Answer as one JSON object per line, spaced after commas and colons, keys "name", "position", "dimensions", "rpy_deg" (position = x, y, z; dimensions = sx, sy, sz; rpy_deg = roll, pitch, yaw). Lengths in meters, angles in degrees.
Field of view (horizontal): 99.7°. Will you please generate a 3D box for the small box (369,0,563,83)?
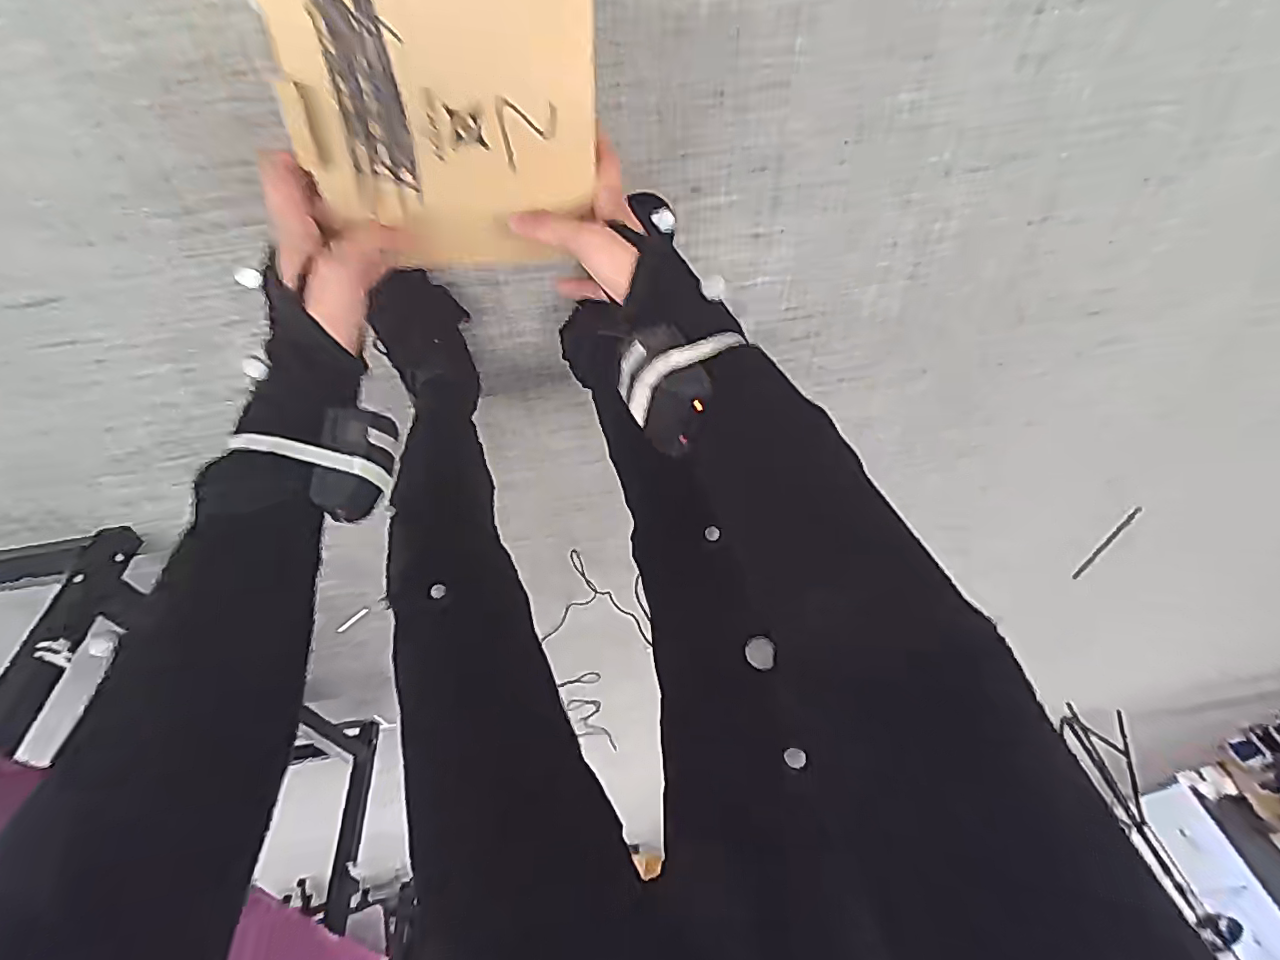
{"name": "small box", "position": [-0.160, -0.495, 0.503], "dimensions": [0.168, 0.176, 0.179], "rpy_deg": [-5, 137, -6]}
